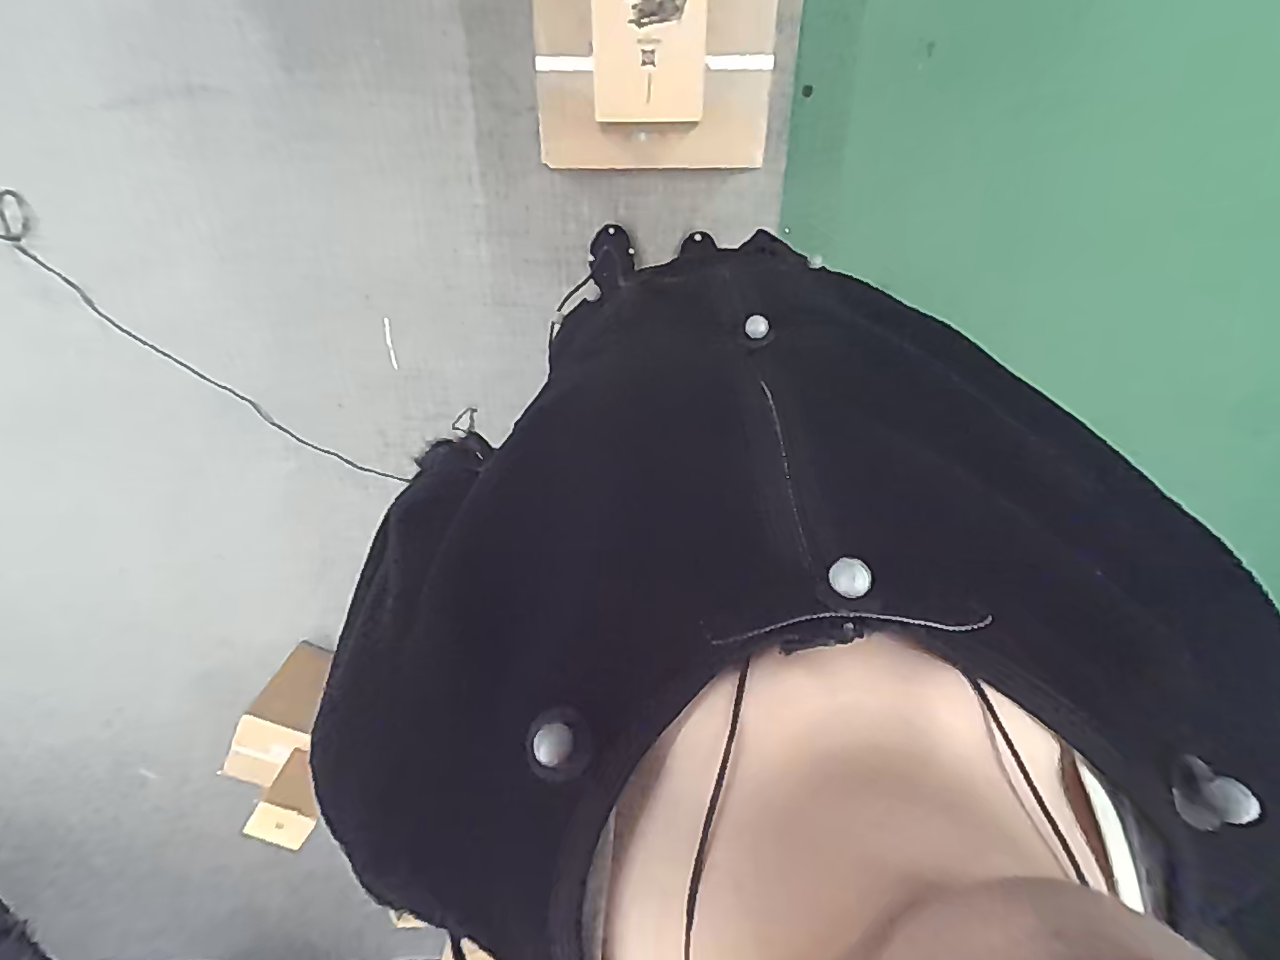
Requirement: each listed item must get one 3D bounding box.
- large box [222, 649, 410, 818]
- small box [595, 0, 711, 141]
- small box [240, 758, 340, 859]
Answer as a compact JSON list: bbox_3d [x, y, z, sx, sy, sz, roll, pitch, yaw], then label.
[{"bbox_3d":[-1.064,0.841,1.814,0.408,0.320,0.320,28,111,-11],"label":"large box"},{"bbox_3d":[0.015,-0.645,0.850,0.168,0.176,0.179,0,118,0],"label":"small box"},{"bbox_3d":[-1.030,0.971,1.605,0.168,0.176,0.179,32,112,-14],"label":"small box"}]
